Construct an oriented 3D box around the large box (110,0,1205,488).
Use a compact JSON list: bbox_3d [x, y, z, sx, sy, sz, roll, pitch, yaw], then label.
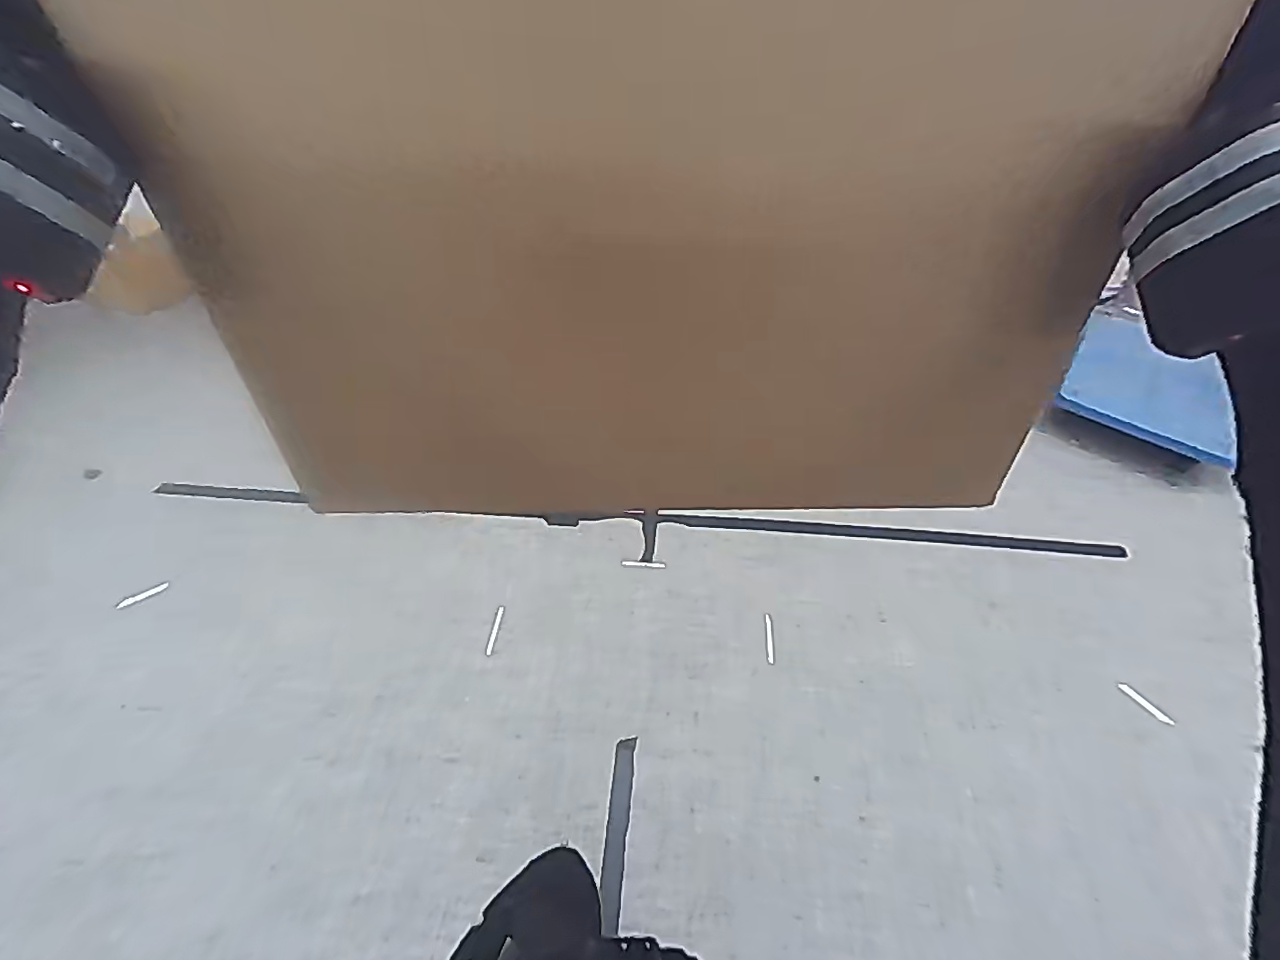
[{"bbox_3d":[0.005,-0.204,0.352,0.408,0.320,0.320,0,39,0],"label":"large box"}]
